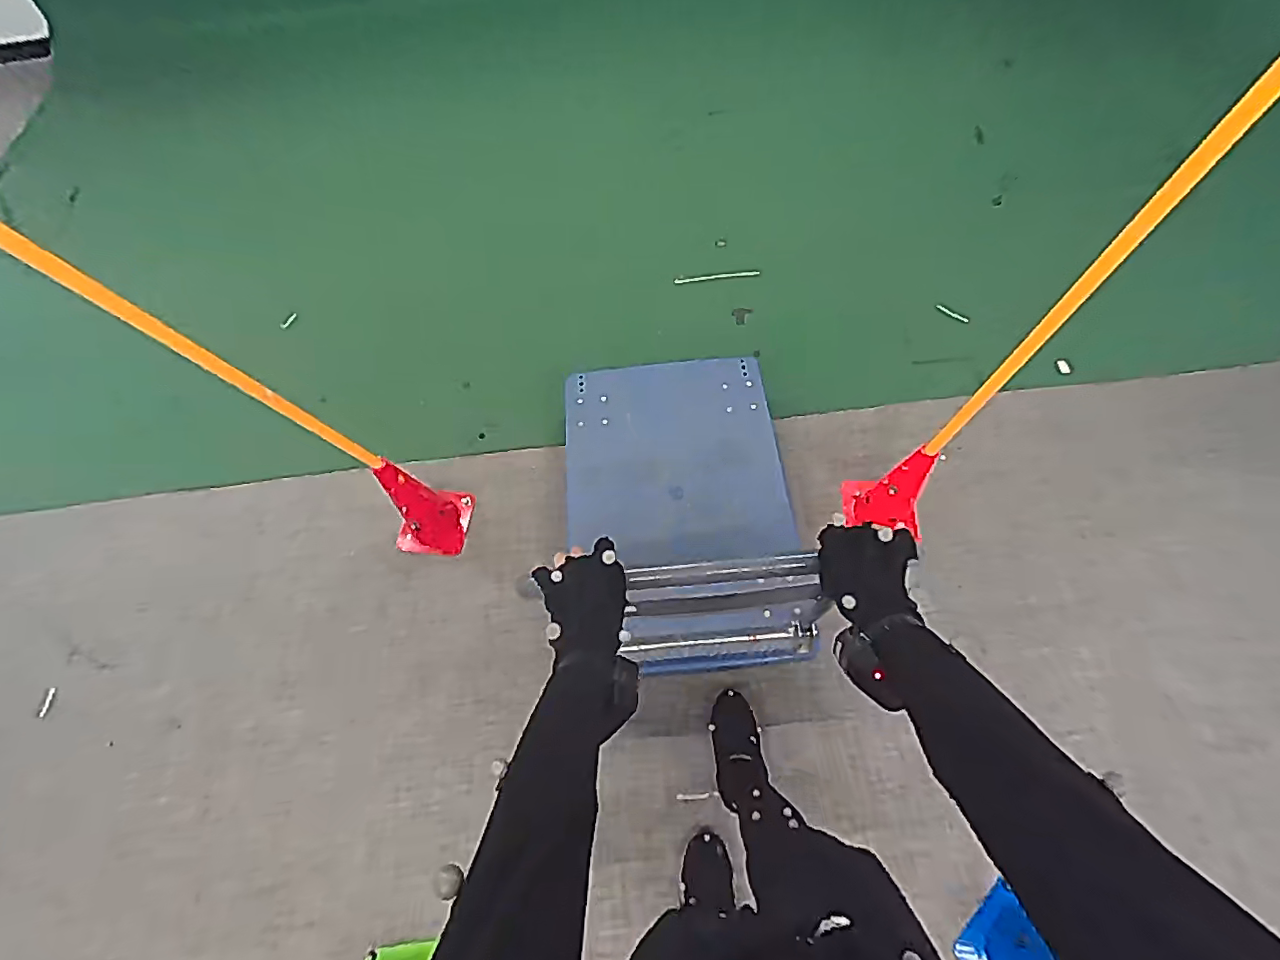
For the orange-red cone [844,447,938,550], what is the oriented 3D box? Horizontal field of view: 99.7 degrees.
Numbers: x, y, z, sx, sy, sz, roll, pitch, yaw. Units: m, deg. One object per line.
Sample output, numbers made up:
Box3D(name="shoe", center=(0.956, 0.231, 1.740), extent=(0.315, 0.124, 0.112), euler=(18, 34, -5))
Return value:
Box3D(name="orange-red cone", center=(0.674, 0.023, 1.385), extent=(0.198, 0.360, 0.199), euler=(3, 63, 6))
